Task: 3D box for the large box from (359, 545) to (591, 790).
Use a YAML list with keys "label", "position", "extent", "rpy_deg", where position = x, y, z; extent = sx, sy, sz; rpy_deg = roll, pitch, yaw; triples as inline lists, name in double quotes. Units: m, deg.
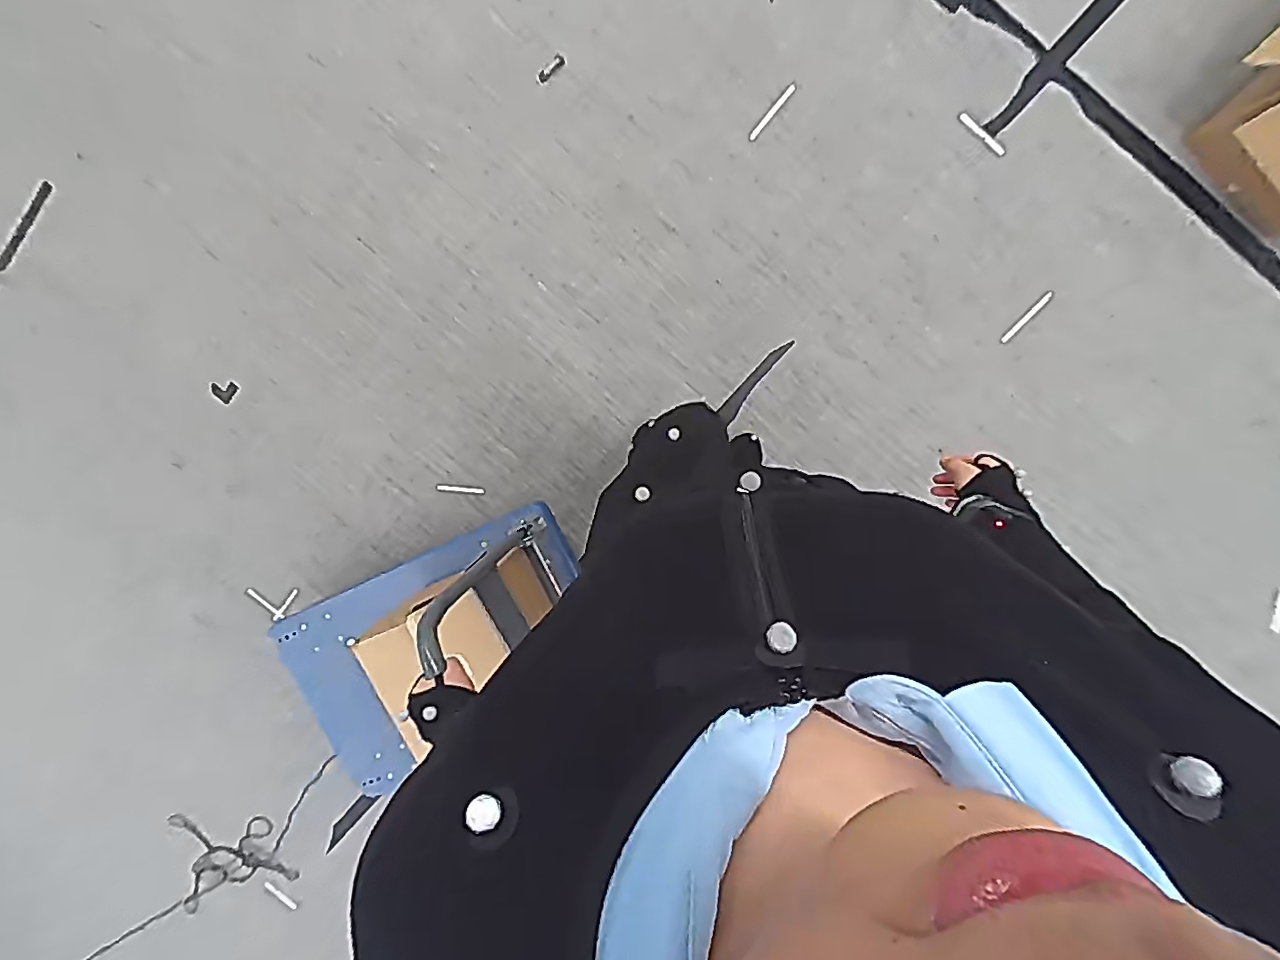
- label: "large box"
  position: [-0.362, 0.426, 1.293]
  extent: [0.320, 0.320, 0.408]
  rpy_deg: [-25, 96, 9]
